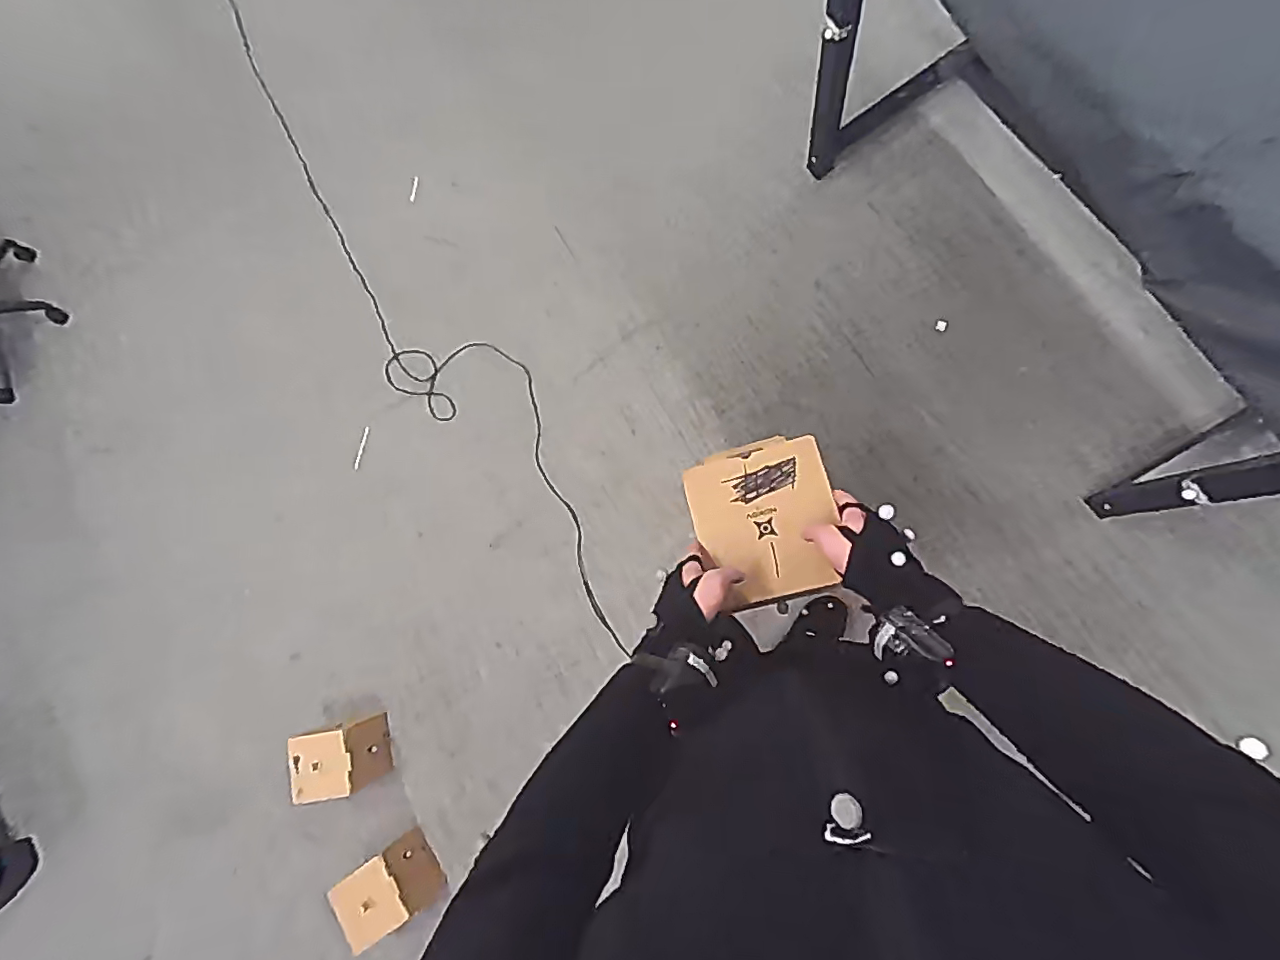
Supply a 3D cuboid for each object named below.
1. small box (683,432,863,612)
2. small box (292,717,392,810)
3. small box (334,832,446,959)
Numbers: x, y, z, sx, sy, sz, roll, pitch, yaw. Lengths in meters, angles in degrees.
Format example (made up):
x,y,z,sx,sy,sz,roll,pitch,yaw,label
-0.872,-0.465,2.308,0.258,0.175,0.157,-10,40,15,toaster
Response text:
x,y,z,sx,sy,sz,roll,pitch,yaw,label
0.165,0.065,0.693,0.168,0.176,0.179,-17,72,11,small box
-0.797,0.762,1.466,0.179,0.176,0.168,-14,80,9,small box
-0.630,1.060,1.392,0.179,0.176,0.168,-40,75,5,small box
